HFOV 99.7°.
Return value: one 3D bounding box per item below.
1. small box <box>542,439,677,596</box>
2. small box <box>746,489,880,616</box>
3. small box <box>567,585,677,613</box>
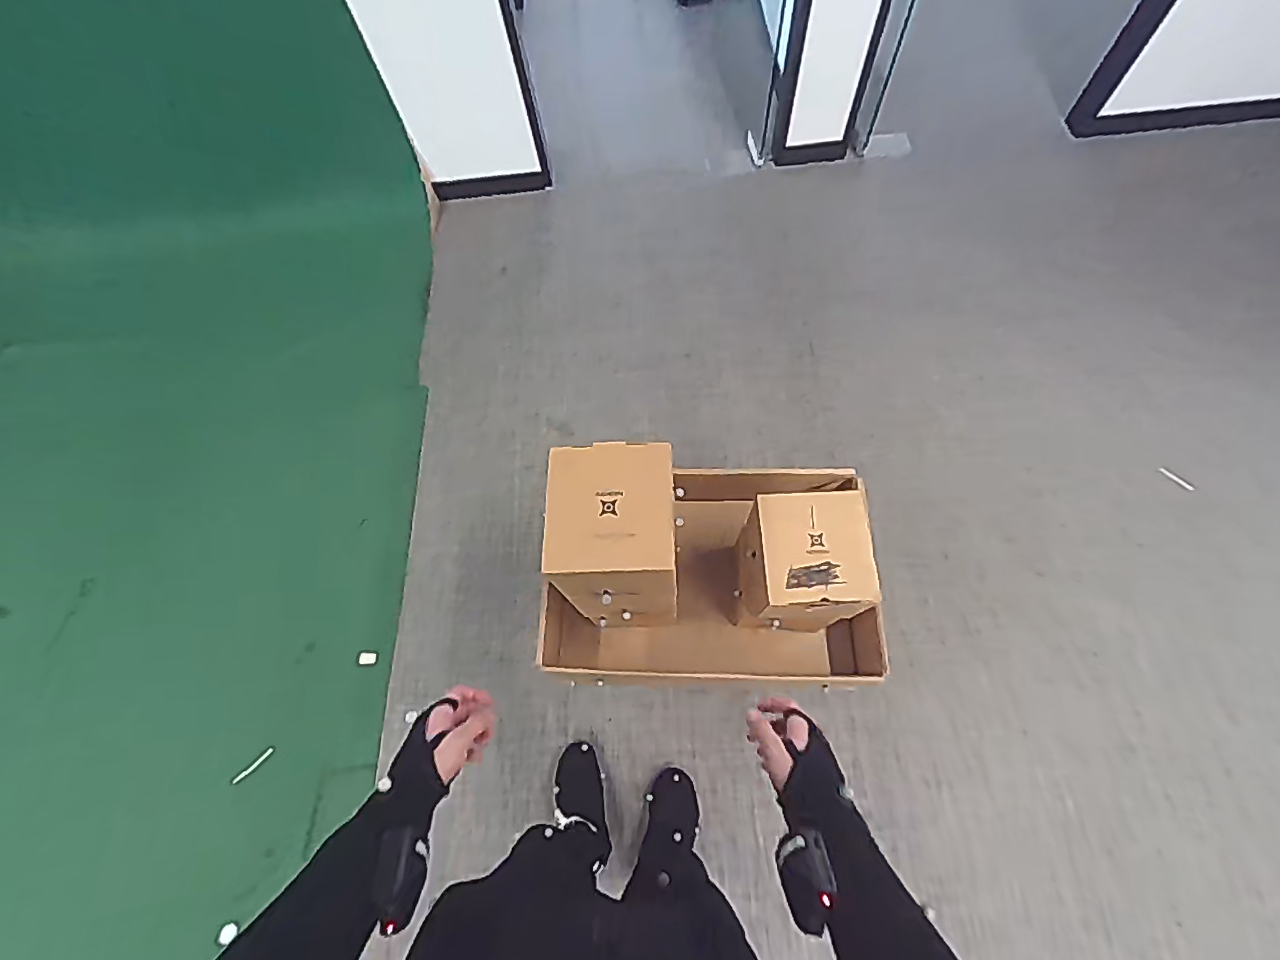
[{"bbox_3d":[-0.033,0.059,0.760,0.168,0.176,0.179,-1,66,4],"label":"small box"},{"bbox_3d":[0.272,0.127,0.890,0.168,0.176,0.179,-2,67,3],"label":"small box"},{"bbox_3d":[-0.023,0.122,0.910,0.168,0.176,0.179,-2,67,4],"label":"small box"}]
